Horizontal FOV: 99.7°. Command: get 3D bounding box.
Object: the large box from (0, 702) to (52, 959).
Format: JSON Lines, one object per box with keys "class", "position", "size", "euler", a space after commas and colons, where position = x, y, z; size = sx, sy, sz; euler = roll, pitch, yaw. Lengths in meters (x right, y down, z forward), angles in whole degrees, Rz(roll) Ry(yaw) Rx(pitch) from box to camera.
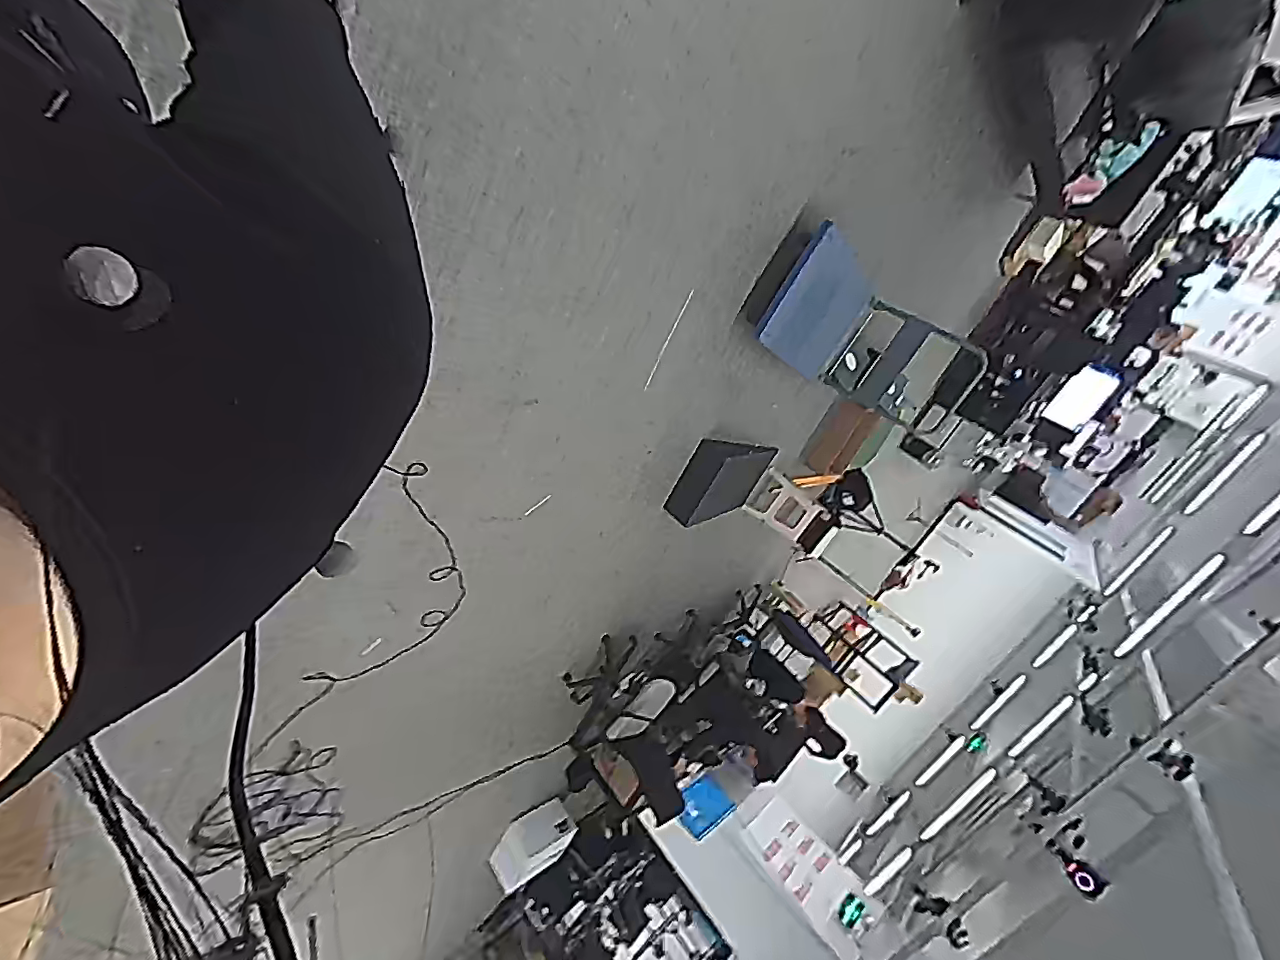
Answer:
{"class": "large box", "position": [-1.074, 0.593, 0.747], "size": [0.320, 0.320, 0.408], "euler": [6, 121, -52]}
